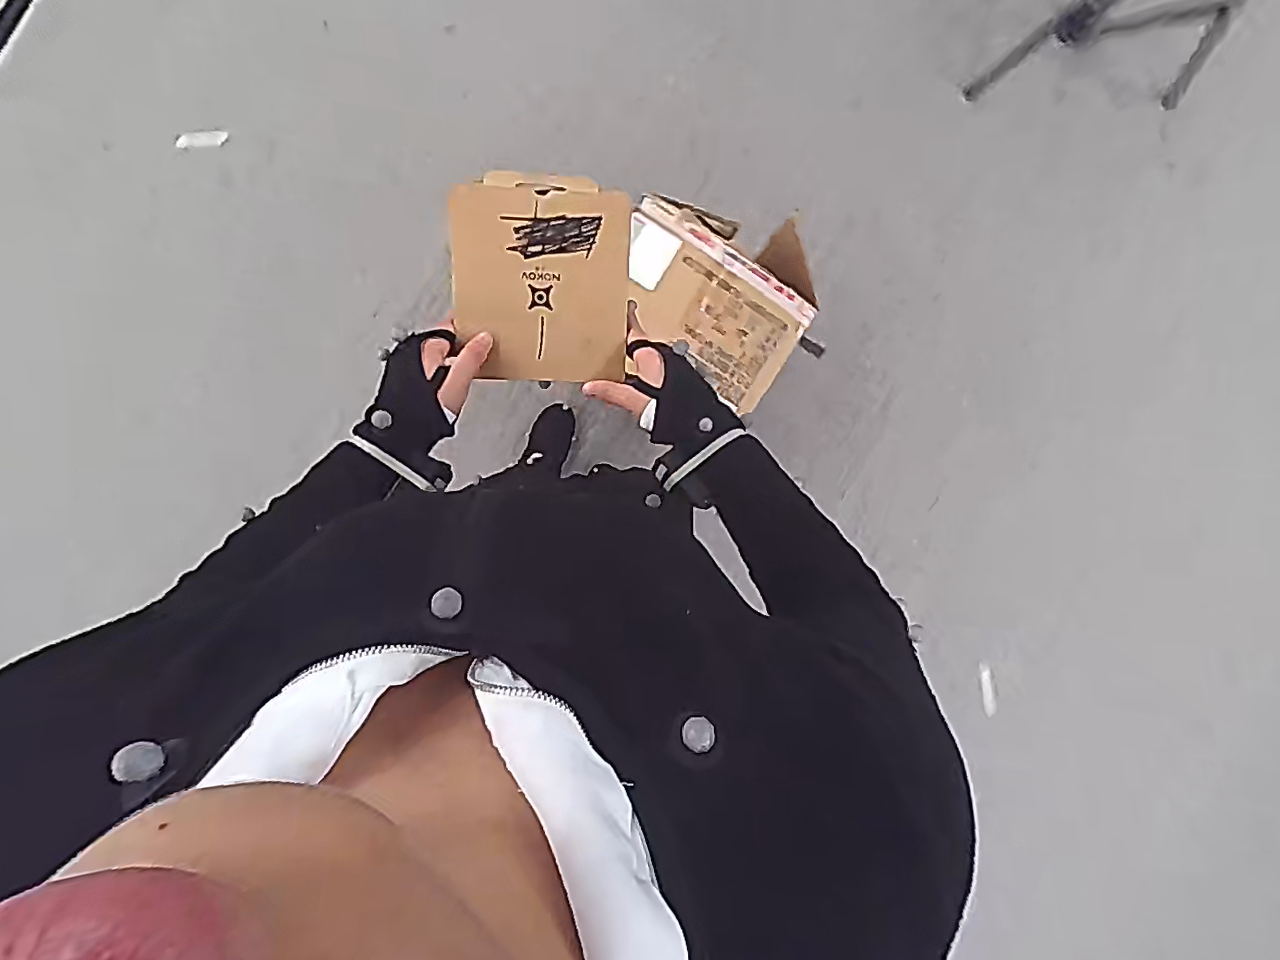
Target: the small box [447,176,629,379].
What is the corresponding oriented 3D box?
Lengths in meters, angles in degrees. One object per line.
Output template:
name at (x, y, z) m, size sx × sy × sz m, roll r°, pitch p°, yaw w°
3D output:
small box at (-0.103, -0.206, 0.585) m, size 0.168 × 0.176 × 0.179 m, roll 0°, pitch 106°, yaw -6°
